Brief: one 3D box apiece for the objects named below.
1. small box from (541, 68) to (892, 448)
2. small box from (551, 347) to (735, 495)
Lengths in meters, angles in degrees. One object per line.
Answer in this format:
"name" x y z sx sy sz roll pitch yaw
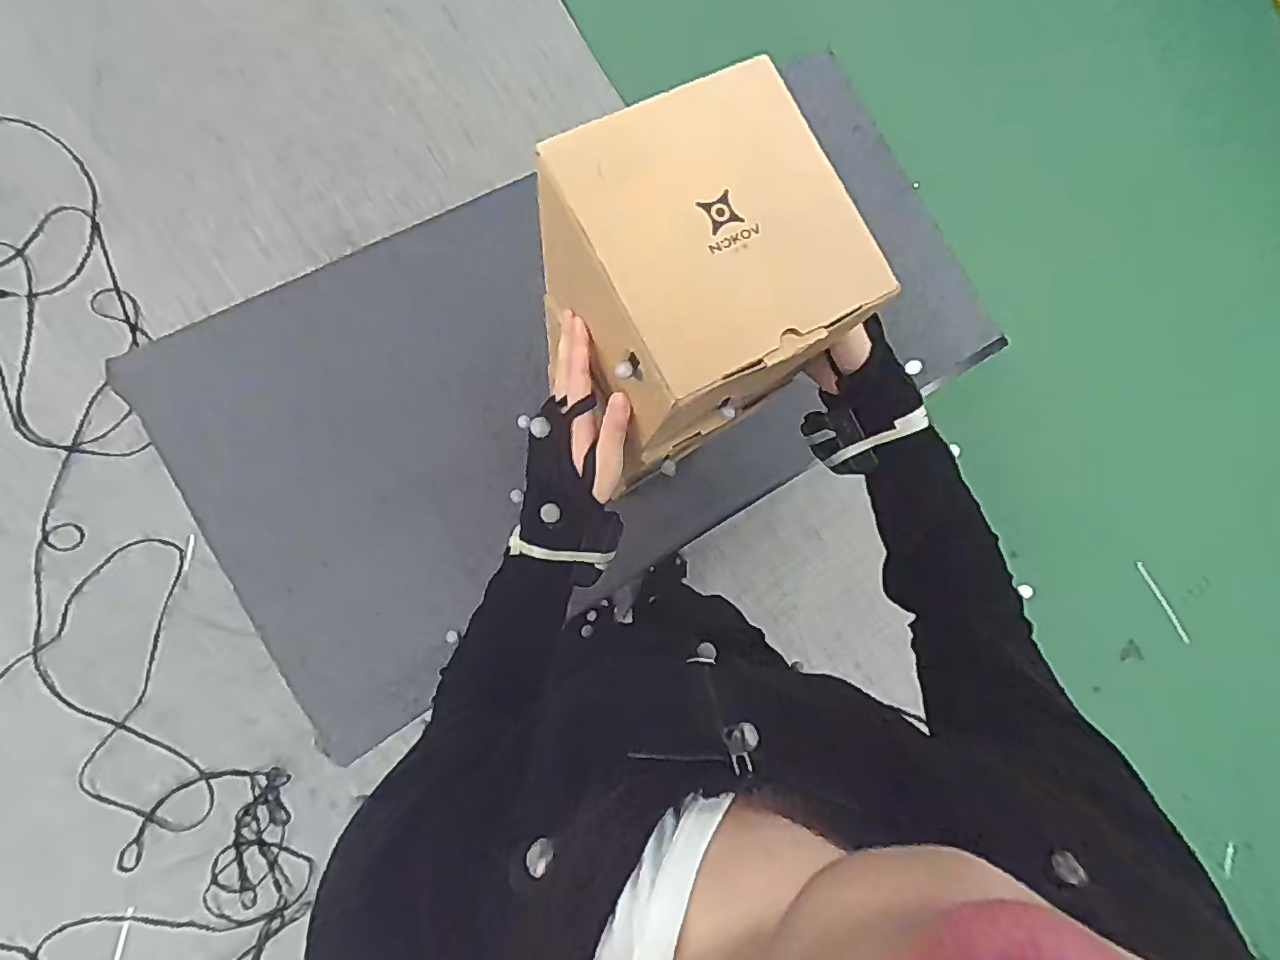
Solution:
"small box" 0.038 -0.145 0.408 0.168 0.176 0.179 -29 88 -11
"small box" -0.007 -0.096 0.728 0.168 0.176 0.179 -32 89 -10
